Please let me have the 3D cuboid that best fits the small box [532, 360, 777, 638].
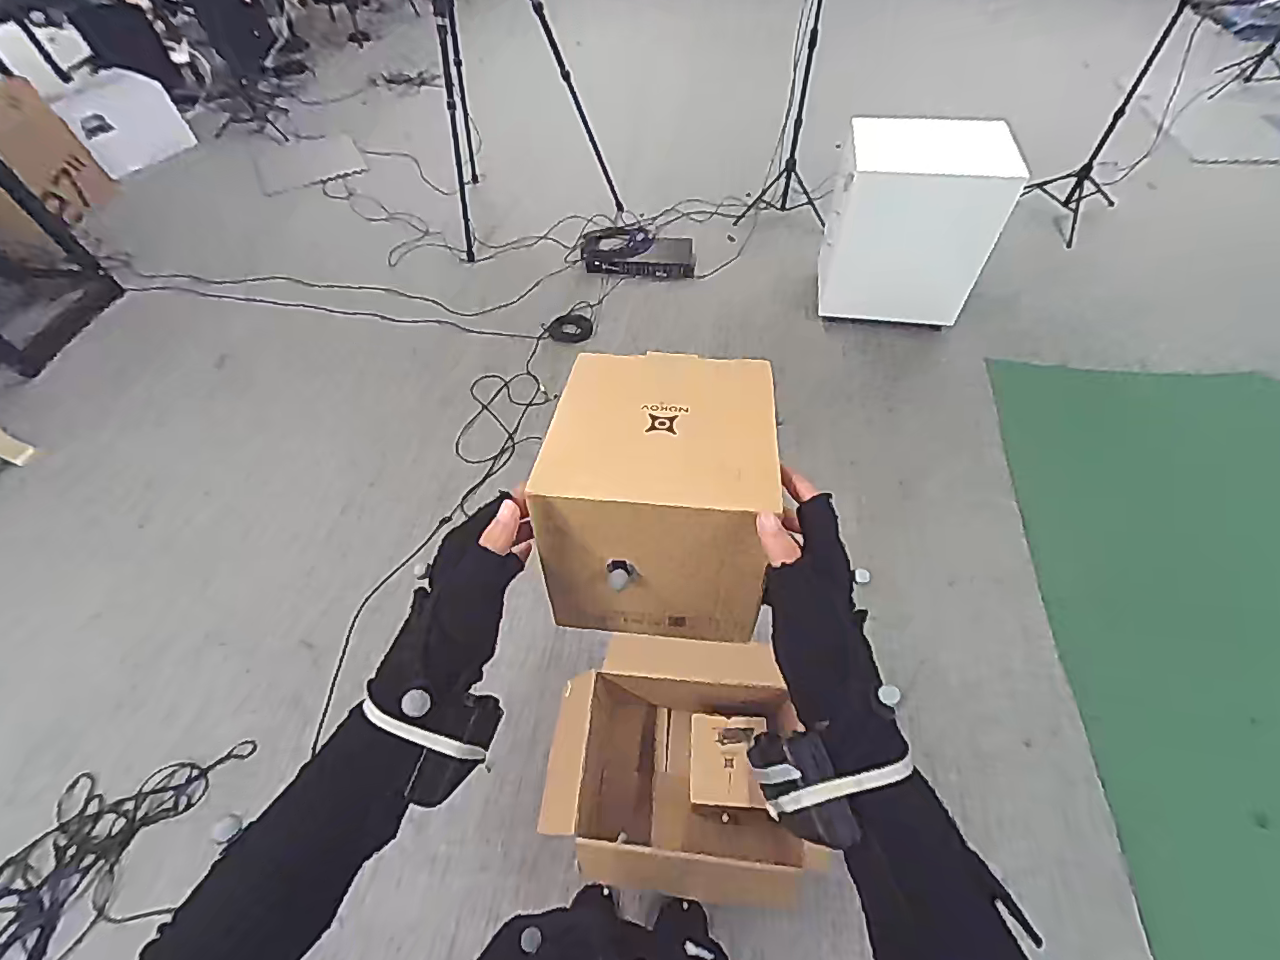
[{"bbox_3d":[0.019,0.017,0.465,0.168,0.176,0.179,3,46,5],"label":"small box"}]
